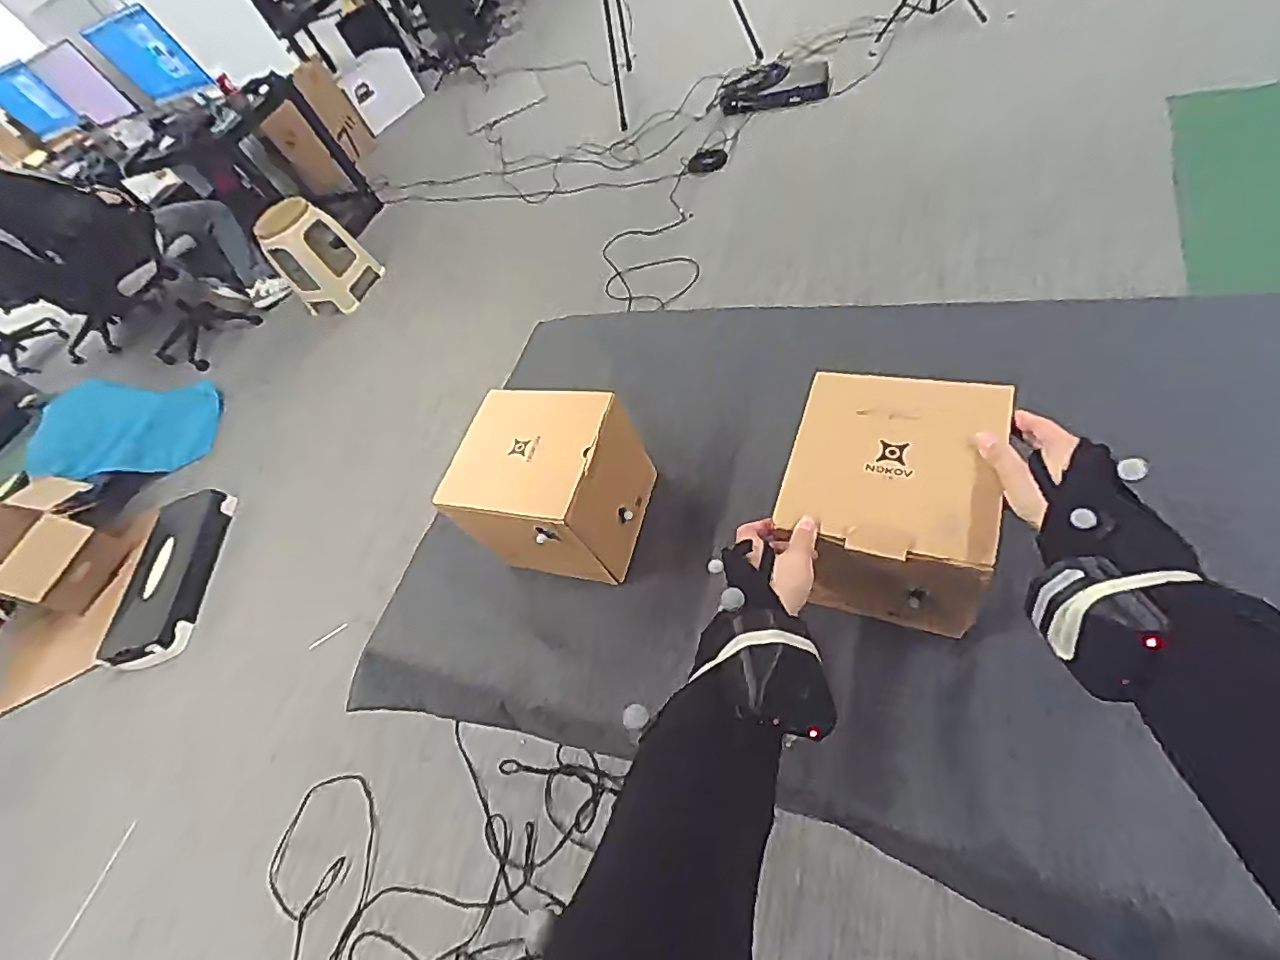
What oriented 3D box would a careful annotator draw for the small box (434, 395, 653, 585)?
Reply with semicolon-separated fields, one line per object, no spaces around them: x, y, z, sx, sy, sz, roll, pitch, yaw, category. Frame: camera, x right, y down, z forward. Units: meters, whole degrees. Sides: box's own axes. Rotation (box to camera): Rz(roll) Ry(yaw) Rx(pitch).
-0.104;0.015;0.660;0.179;0.176;0.168;5;59;23;small box
